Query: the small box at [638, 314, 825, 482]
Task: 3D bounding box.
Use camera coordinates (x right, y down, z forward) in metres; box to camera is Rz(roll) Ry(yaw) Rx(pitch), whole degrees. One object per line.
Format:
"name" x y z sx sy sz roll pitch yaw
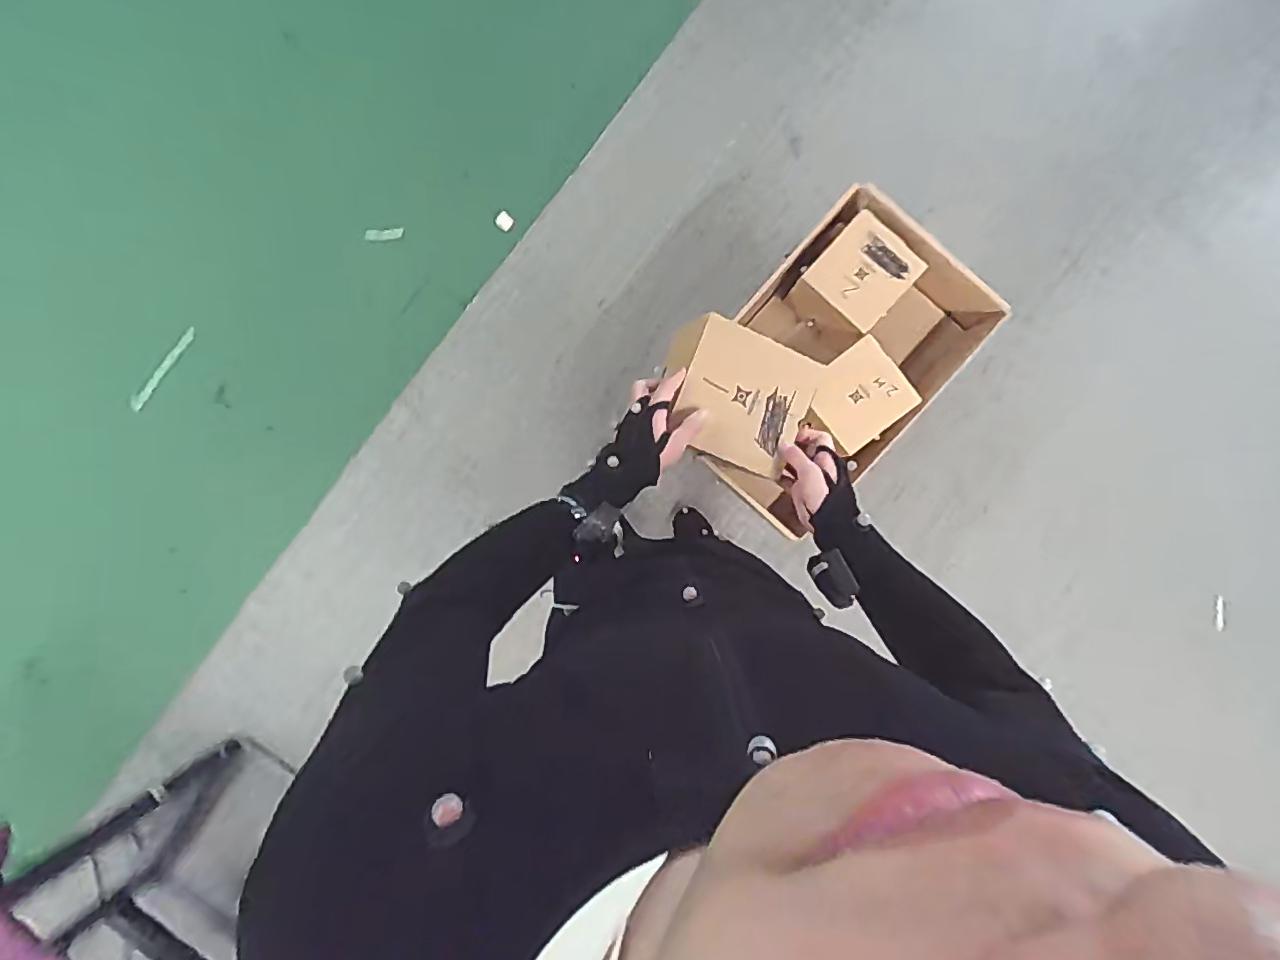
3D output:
"small box" 0.117 -0.113 0.761 0.179 0.176 0.168 21 93 -14
